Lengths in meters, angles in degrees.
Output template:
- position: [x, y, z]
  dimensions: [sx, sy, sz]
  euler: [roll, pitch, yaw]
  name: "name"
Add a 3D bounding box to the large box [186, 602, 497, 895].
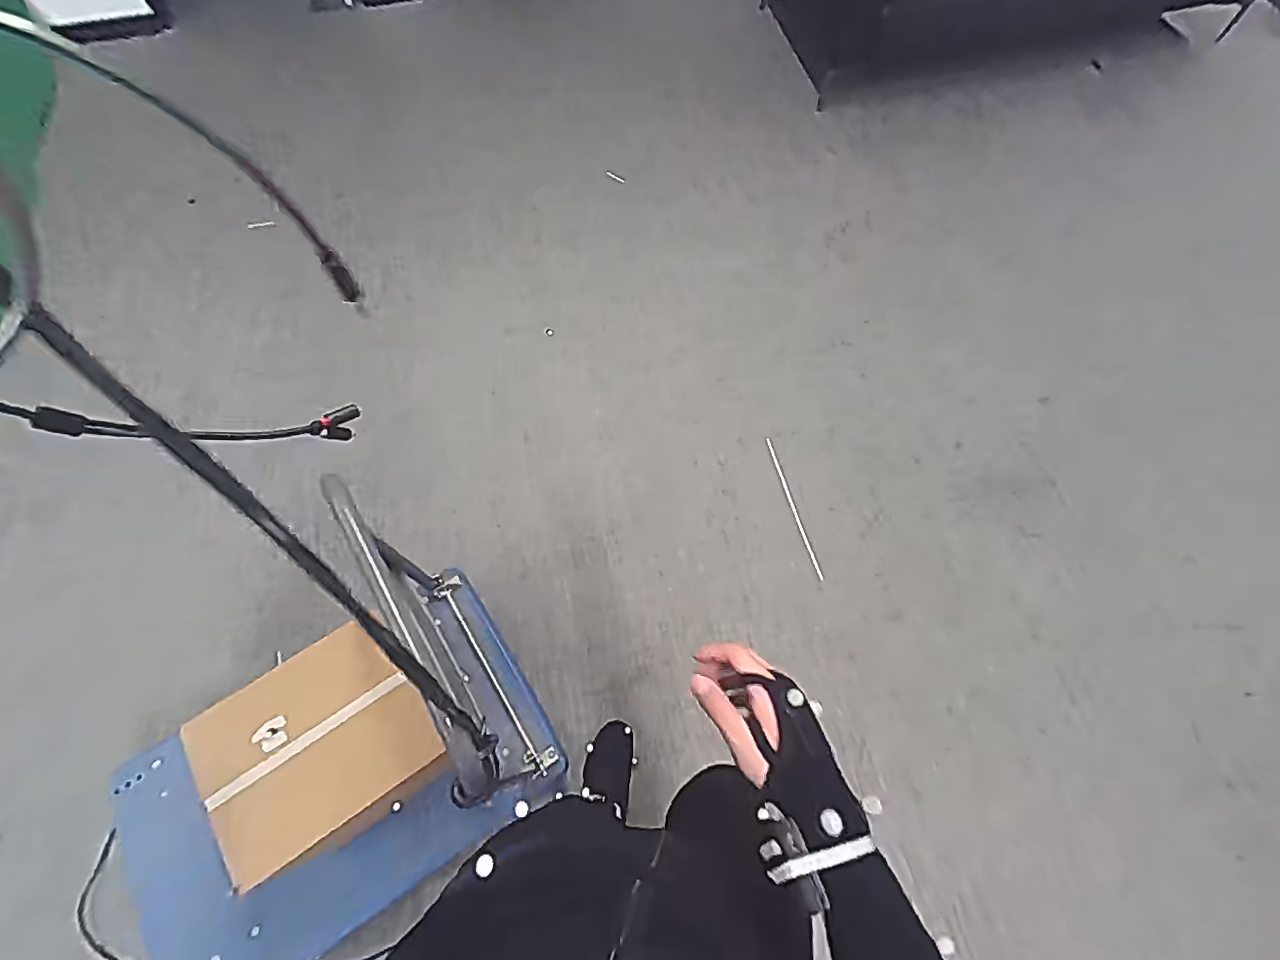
- position: [-0.571, 0.513, 1.108]
  dimensions: [0.408, 0.320, 0.320]
  euler: [-33, 70, -13]
  name: "large box"
